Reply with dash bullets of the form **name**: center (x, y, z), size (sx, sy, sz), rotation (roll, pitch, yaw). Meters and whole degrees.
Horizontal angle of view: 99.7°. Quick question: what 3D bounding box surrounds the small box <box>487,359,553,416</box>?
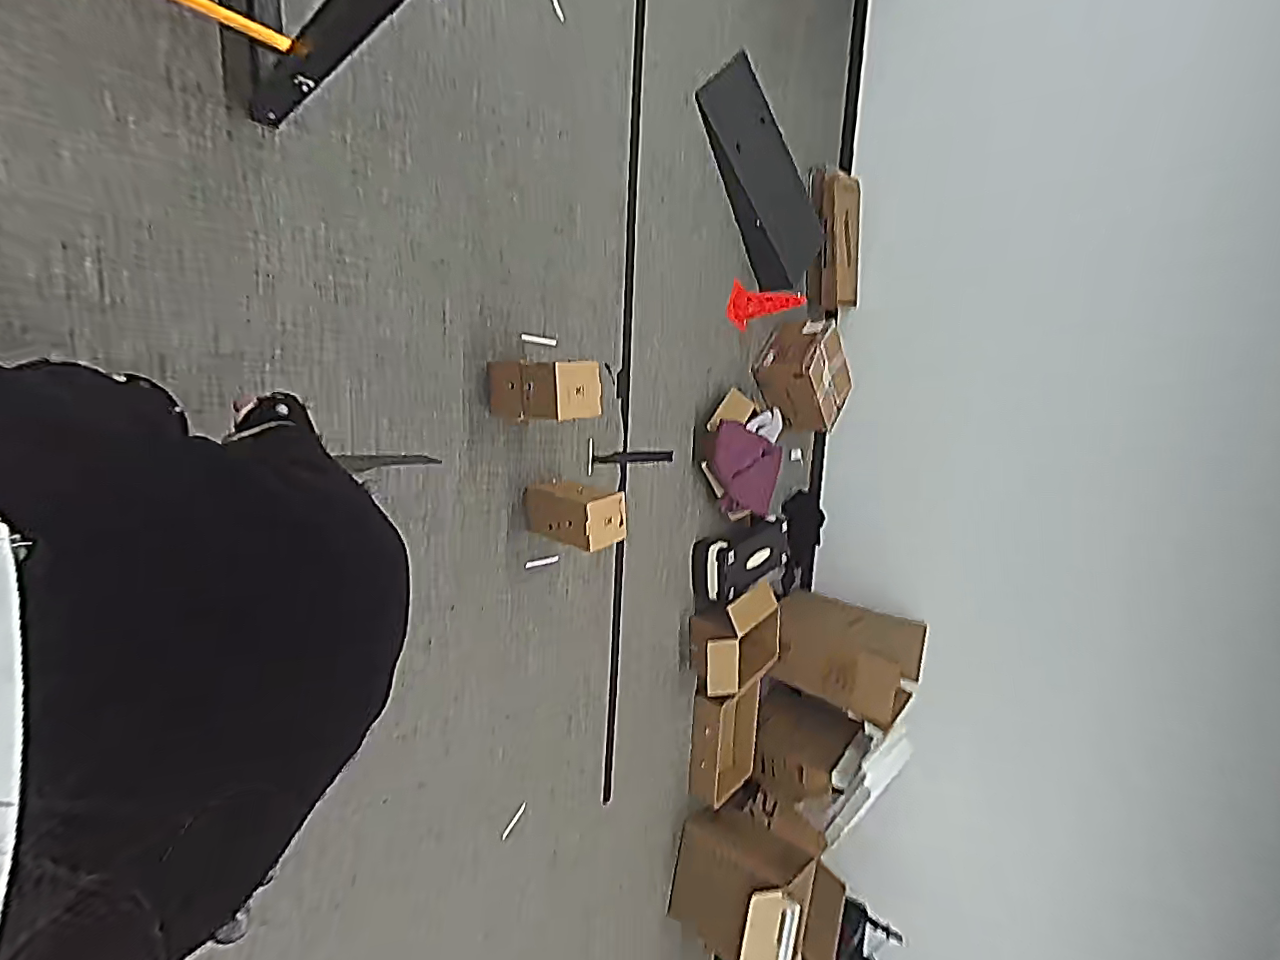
- **small box**: center (-0.379, -0.298, 1.746), size (0.168, 0.176, 0.179), rotation (-11, 106, -48)

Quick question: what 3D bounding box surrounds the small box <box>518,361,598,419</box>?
- **small box**: center (-0.249, -0.278, 1.649), size (0.179, 0.176, 0.168), rotation (-15, 107, -46)

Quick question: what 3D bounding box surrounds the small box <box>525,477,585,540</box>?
- **small box**: center (-0.294, 0.097, 1.926), size (0.168, 0.176, 0.179), rotation (-15, 109, -47)

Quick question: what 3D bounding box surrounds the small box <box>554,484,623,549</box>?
- **small box**: center (-0.177, 0.117, 1.813), size (0.179, 0.176, 0.168), rotation (-16, 110, -46)
